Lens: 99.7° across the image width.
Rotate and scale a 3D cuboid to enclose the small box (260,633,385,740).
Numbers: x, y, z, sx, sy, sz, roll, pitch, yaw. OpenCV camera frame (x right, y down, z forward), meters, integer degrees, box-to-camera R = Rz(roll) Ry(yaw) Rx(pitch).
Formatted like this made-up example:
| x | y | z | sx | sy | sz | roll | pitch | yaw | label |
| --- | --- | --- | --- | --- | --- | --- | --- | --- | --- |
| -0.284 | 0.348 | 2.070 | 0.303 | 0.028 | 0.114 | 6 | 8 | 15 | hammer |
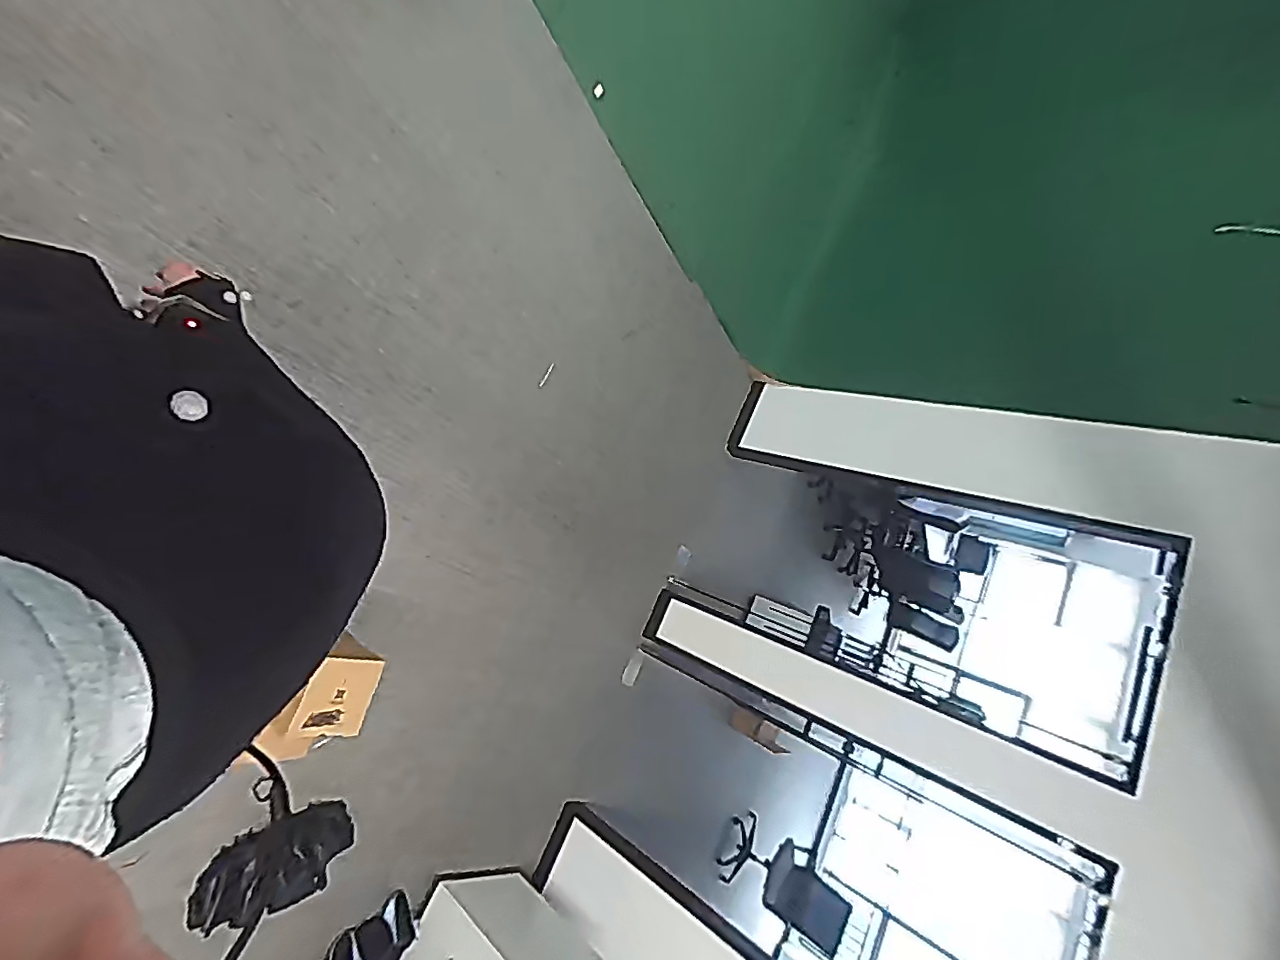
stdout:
| x | y | z | sx | sy | sz | roll | pitch | yaw | label |
| --- | --- | --- | --- | --- | --- | --- | --- | --- | --- |
| -0.731 | 0.471 | 1.240 | 0.168 | 0.176 | 0.179 | 33 | 72 | -53 | small box |
